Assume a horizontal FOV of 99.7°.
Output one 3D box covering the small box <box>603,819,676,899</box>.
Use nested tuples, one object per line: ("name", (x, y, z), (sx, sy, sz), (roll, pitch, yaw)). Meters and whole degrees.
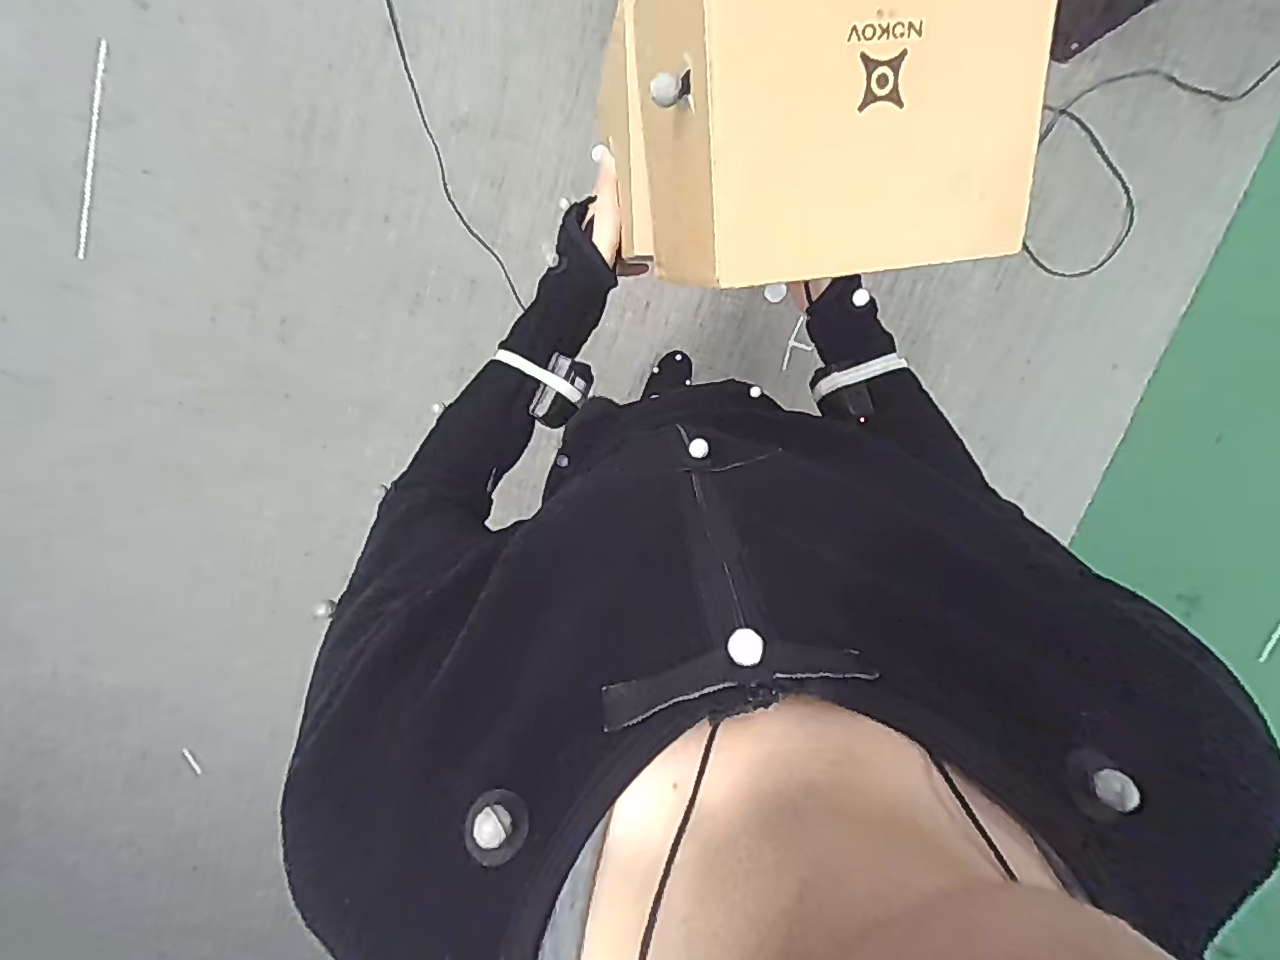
("small box", (-0.006, 1.157, 1.600), (0.168, 0.176, 0.179), (19, 100, -8))

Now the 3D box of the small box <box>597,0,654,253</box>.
("small box", (0.061, -0.287, 0.460), (0.179, 0.176, 0.168), (-6, 111, -6))

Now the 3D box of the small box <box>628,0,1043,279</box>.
("small box", (0.090, -0.219, 0.315), (0.168, 0.176, 0.179), (-9, 111, -5))
